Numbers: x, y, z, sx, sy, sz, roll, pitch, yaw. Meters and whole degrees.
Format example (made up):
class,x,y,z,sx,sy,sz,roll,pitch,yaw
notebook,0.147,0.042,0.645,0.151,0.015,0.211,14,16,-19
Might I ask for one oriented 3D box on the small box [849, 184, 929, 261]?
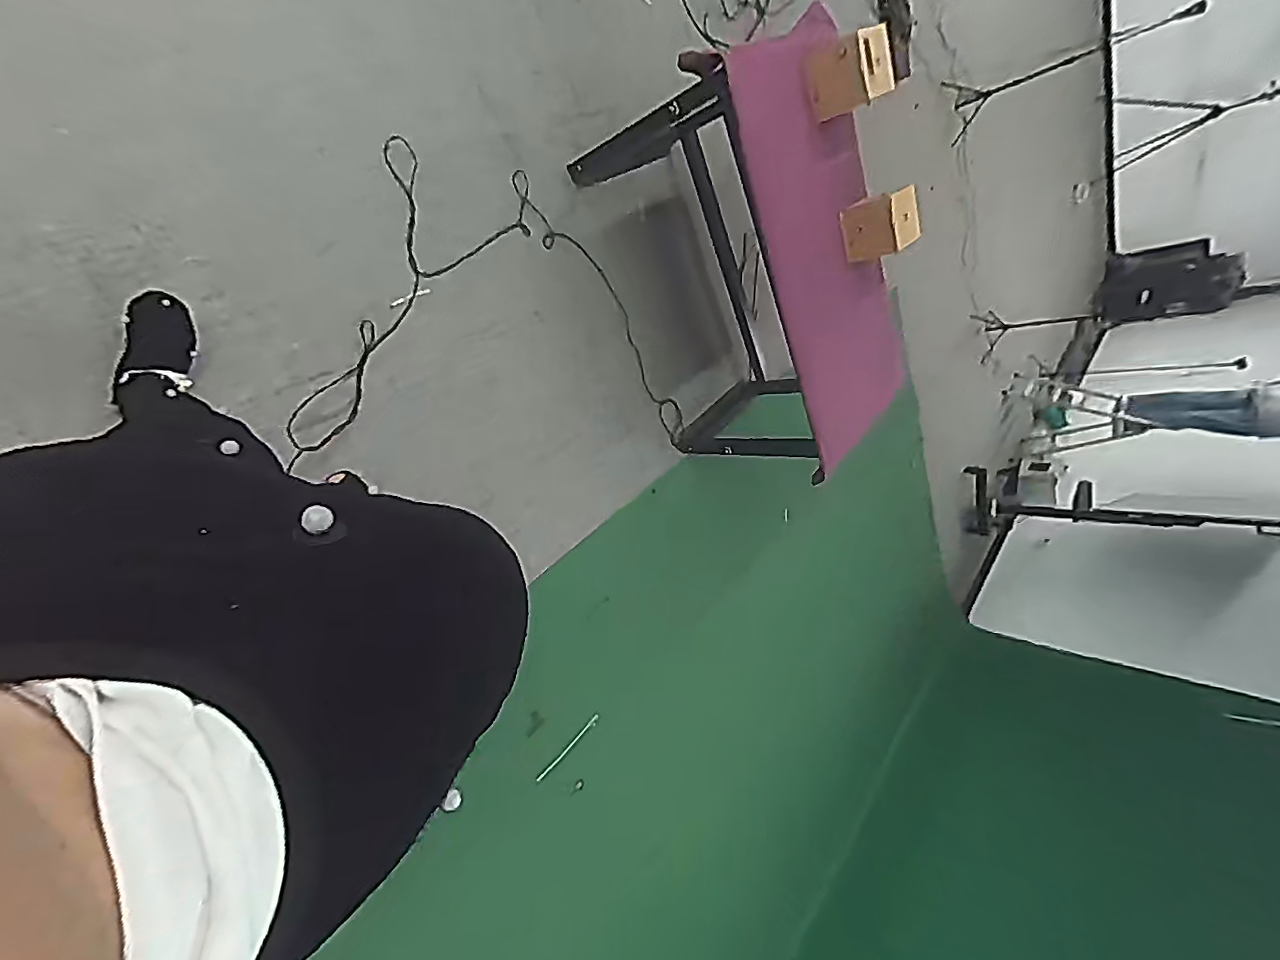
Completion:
class,x,y,z,sx,sy,sz,roll,pitch,yaw
small box,0.795,-0.819,1.728,0.179,0.176,0.168,-36,117,-30
